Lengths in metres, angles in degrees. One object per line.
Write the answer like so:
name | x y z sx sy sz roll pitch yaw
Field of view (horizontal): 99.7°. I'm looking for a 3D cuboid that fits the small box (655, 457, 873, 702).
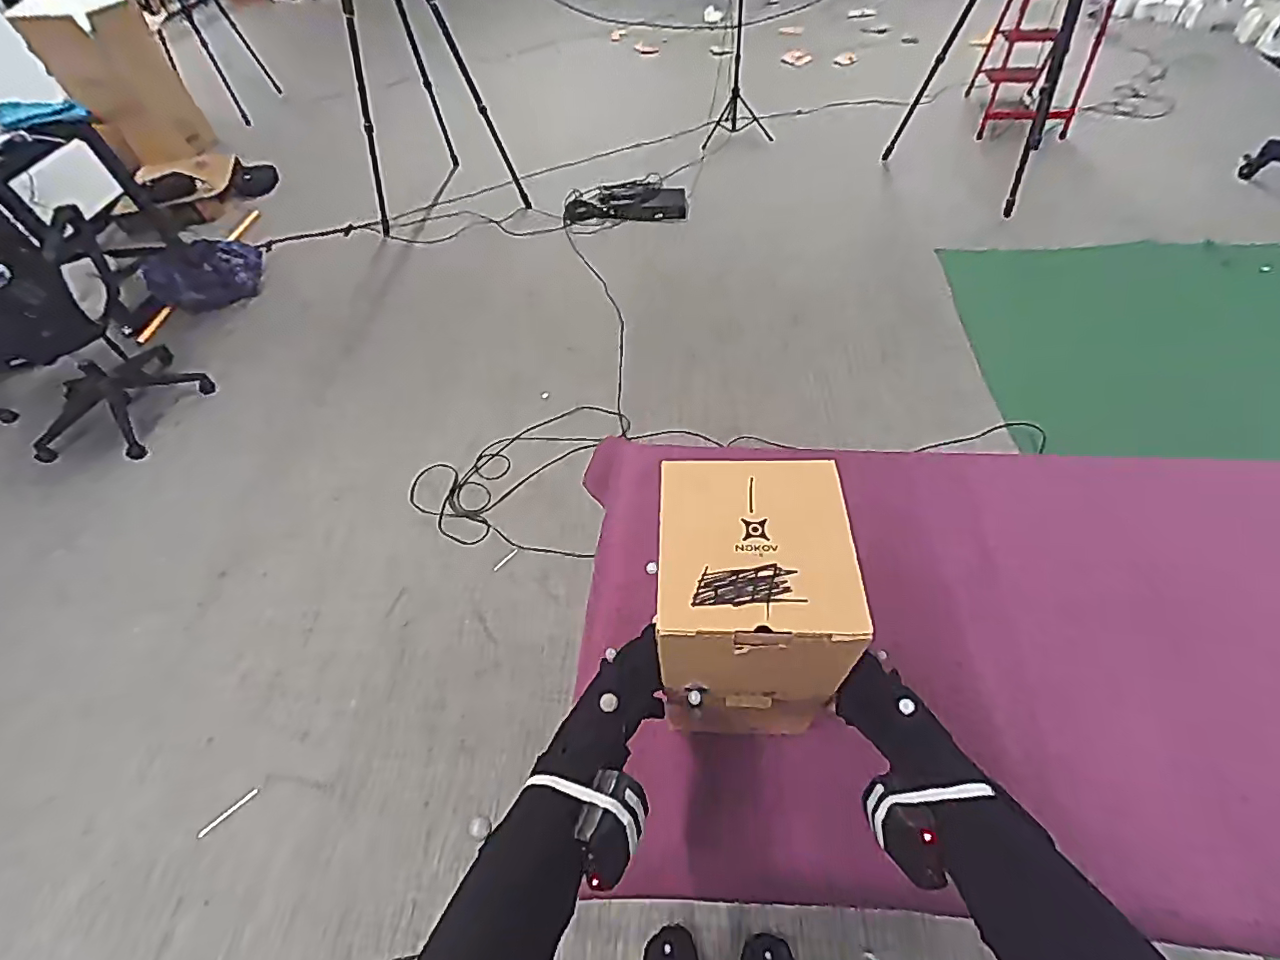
small box | 0.106 0.100 0.519 0.168 0.176 0.179 4 53 5
